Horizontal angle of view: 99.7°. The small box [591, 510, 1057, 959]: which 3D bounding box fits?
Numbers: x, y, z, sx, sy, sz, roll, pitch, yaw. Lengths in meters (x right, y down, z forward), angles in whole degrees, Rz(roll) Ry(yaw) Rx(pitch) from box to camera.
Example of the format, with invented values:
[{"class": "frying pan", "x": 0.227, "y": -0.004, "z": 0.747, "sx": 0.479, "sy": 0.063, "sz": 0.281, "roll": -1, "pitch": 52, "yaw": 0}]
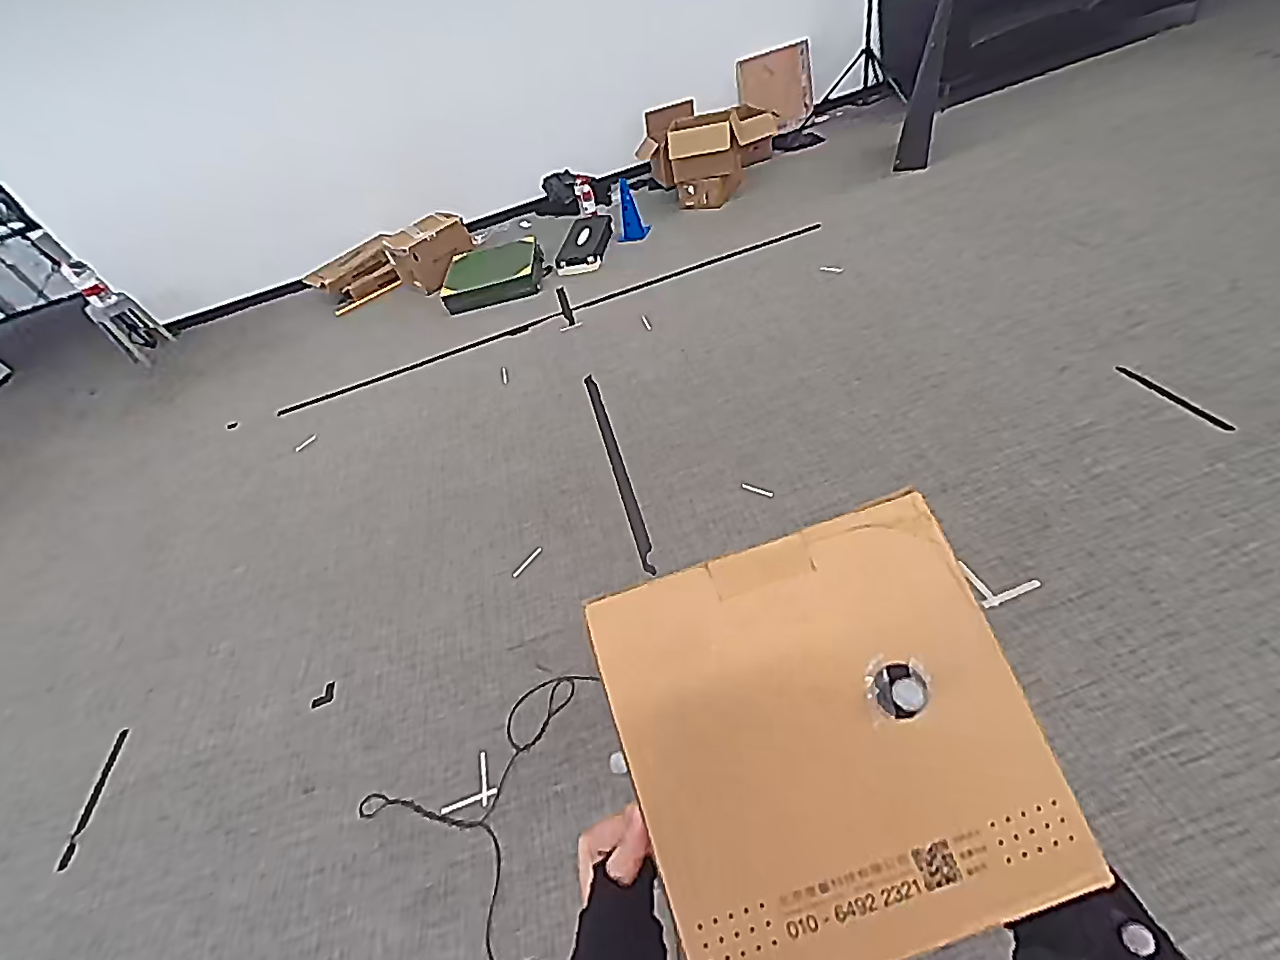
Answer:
[{"class": "small box", "x": 0.086, "y": 0.136, "z": 0.320, "sx": 0.168, "sy": 0.179, "sz": 0.176, "roll": -19, "pitch": 75, "yaw": 1}]
